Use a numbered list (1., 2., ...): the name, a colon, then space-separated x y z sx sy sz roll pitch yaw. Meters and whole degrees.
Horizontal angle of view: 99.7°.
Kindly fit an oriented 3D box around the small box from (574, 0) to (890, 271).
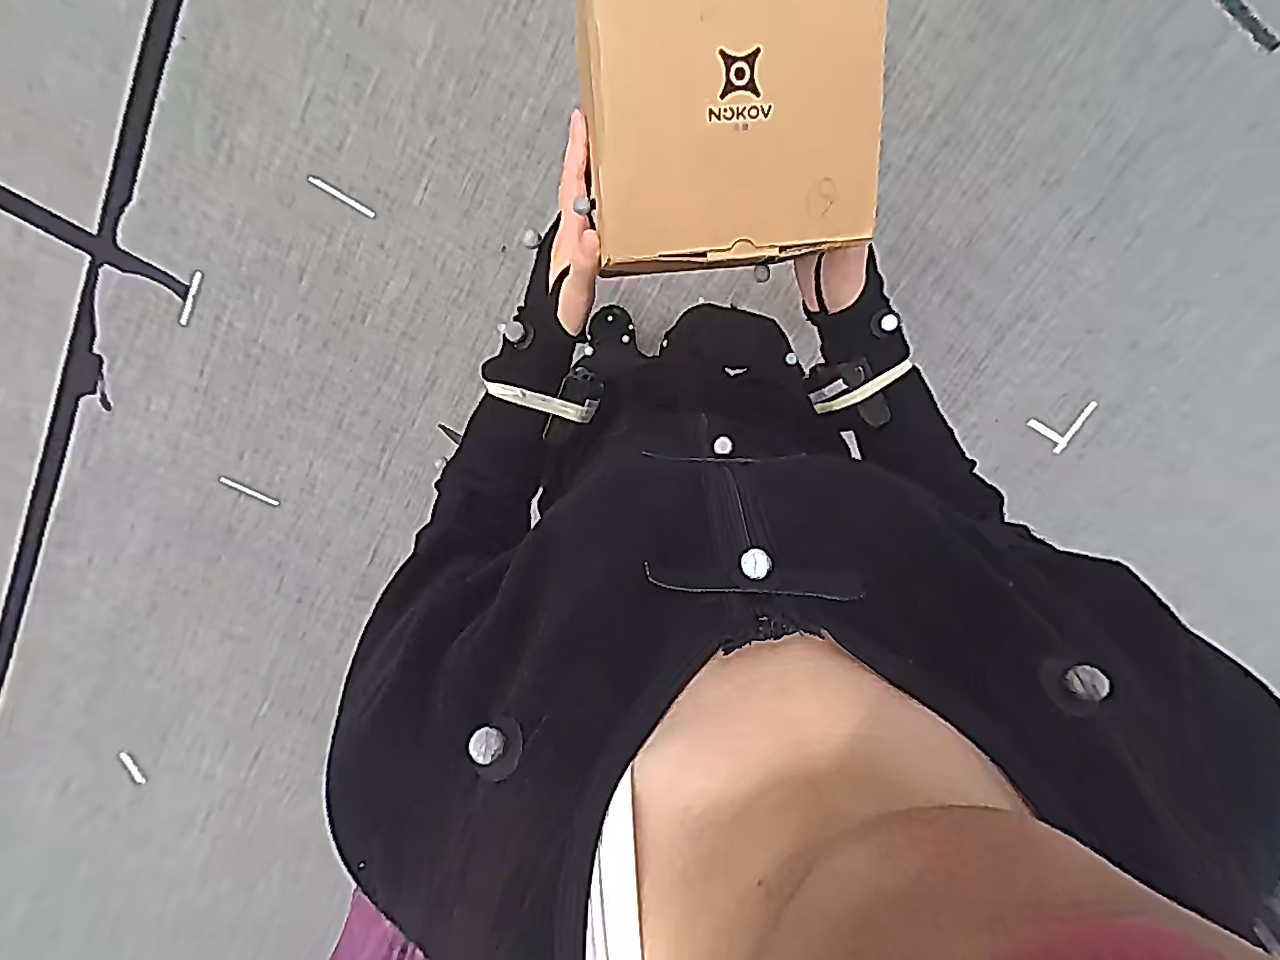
1. small box: 0.046 -0.242 0.369 0.168 0.176 0.179 -7 108 -5
